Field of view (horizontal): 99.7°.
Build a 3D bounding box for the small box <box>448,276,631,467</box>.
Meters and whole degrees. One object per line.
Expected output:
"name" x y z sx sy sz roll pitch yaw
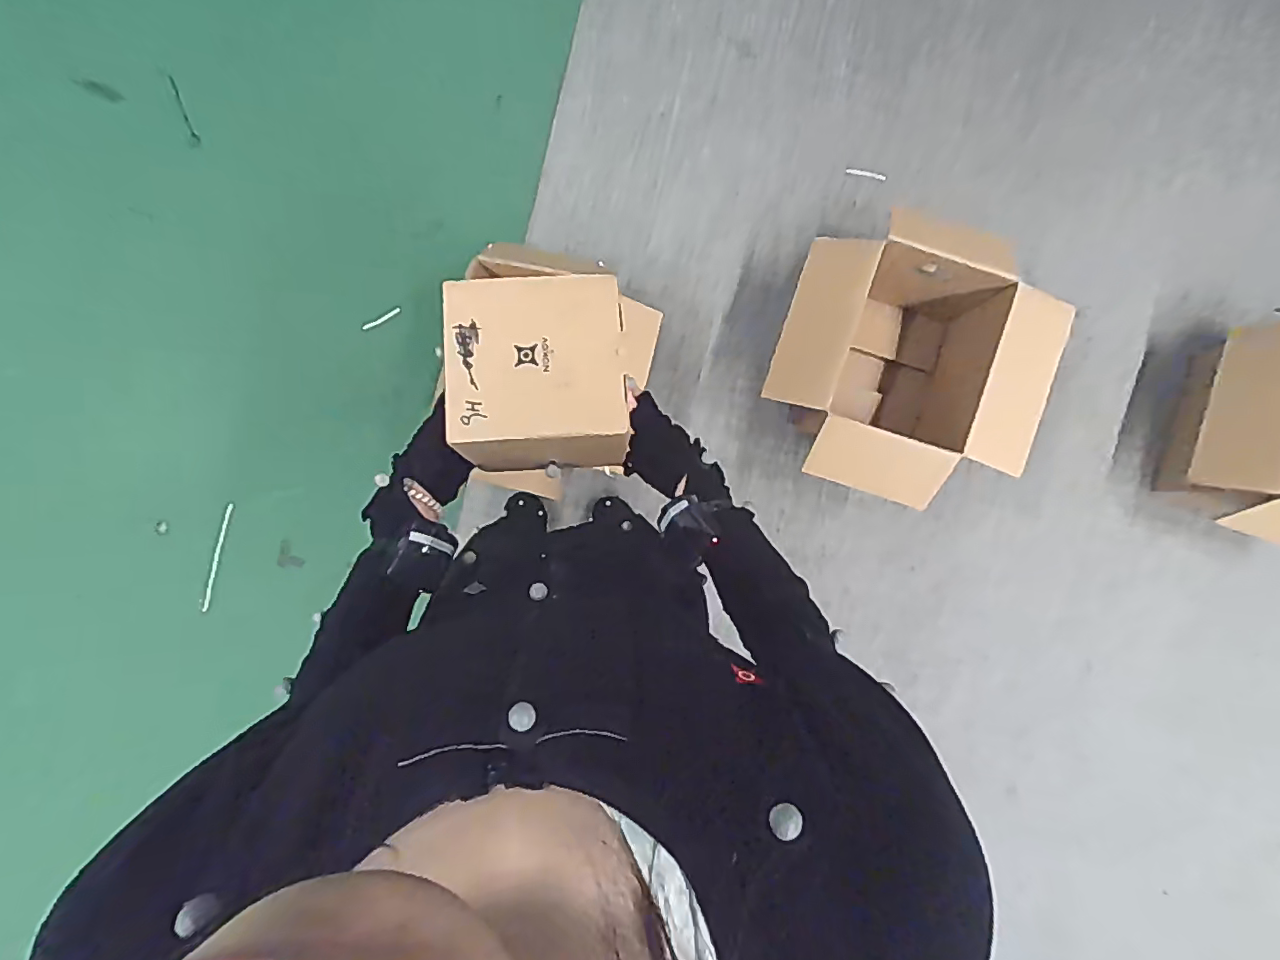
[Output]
"small box" -0.107 -0.111 0.610 0.179 0.176 0.168 -2 81 -5
